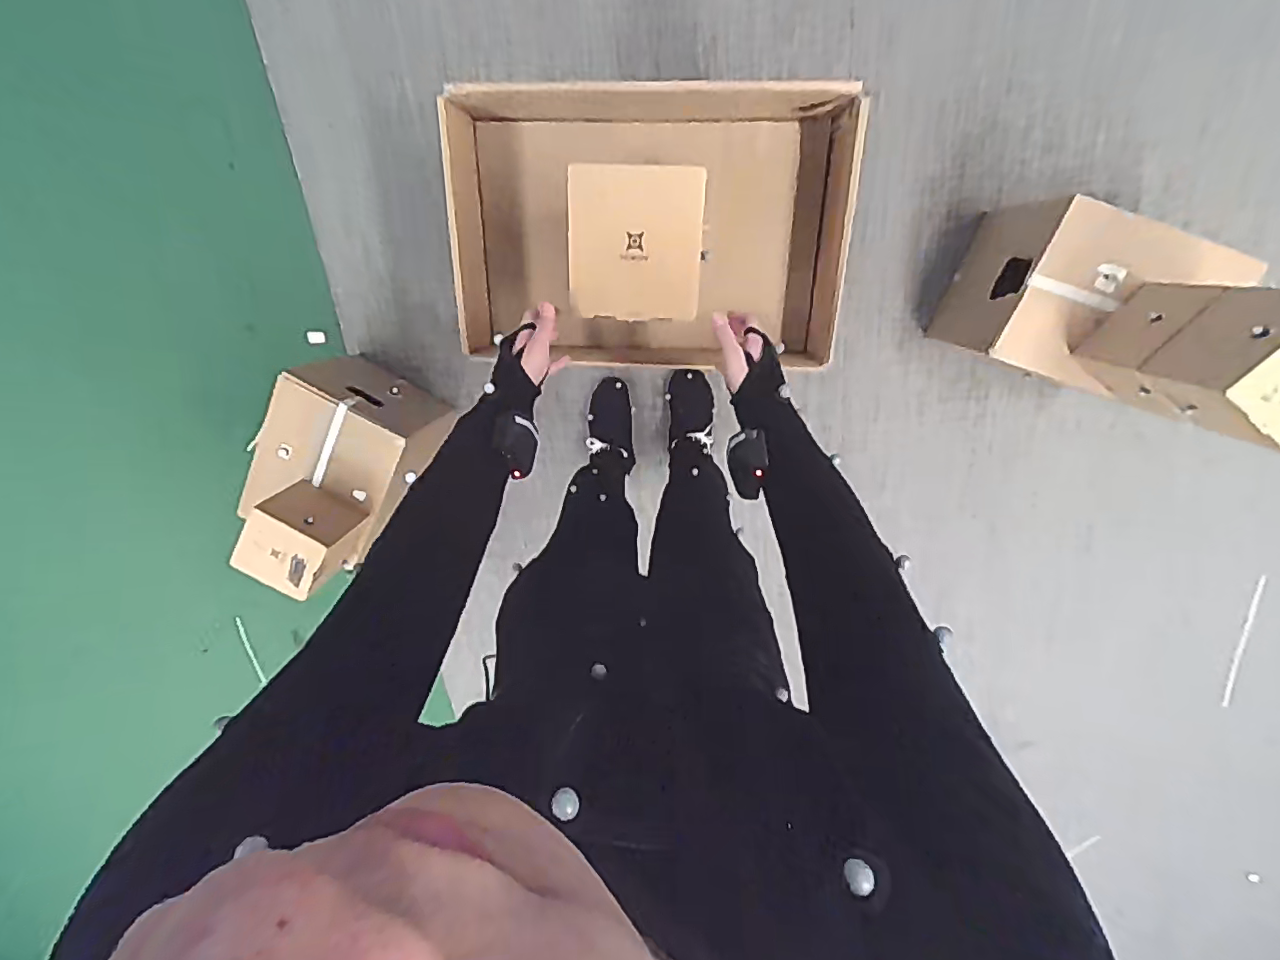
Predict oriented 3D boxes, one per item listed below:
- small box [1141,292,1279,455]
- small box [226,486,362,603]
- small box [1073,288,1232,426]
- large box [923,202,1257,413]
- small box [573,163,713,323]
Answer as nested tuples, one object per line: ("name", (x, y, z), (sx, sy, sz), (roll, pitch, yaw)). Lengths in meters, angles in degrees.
("small box", (0.959, -0.172, 0.838), (0.168, 0.176, 0.179), (36, 110, -10))
("small box", (-0.770, 0.137, 1.223), (0.179, 0.176, 0.168), (32, 108, -9))
("small box", (0.965, -0.233, 0.992), (0.168, 0.176, 0.179), (36, 109, -10))
("large box", (0.943, -0.379, 1.201), (0.408, 0.320, 0.320), (18, 110, -2))
("small box", (0.004, -0.313, 0.731), (0.168, 0.176, 0.179), (3, 112, 3))
